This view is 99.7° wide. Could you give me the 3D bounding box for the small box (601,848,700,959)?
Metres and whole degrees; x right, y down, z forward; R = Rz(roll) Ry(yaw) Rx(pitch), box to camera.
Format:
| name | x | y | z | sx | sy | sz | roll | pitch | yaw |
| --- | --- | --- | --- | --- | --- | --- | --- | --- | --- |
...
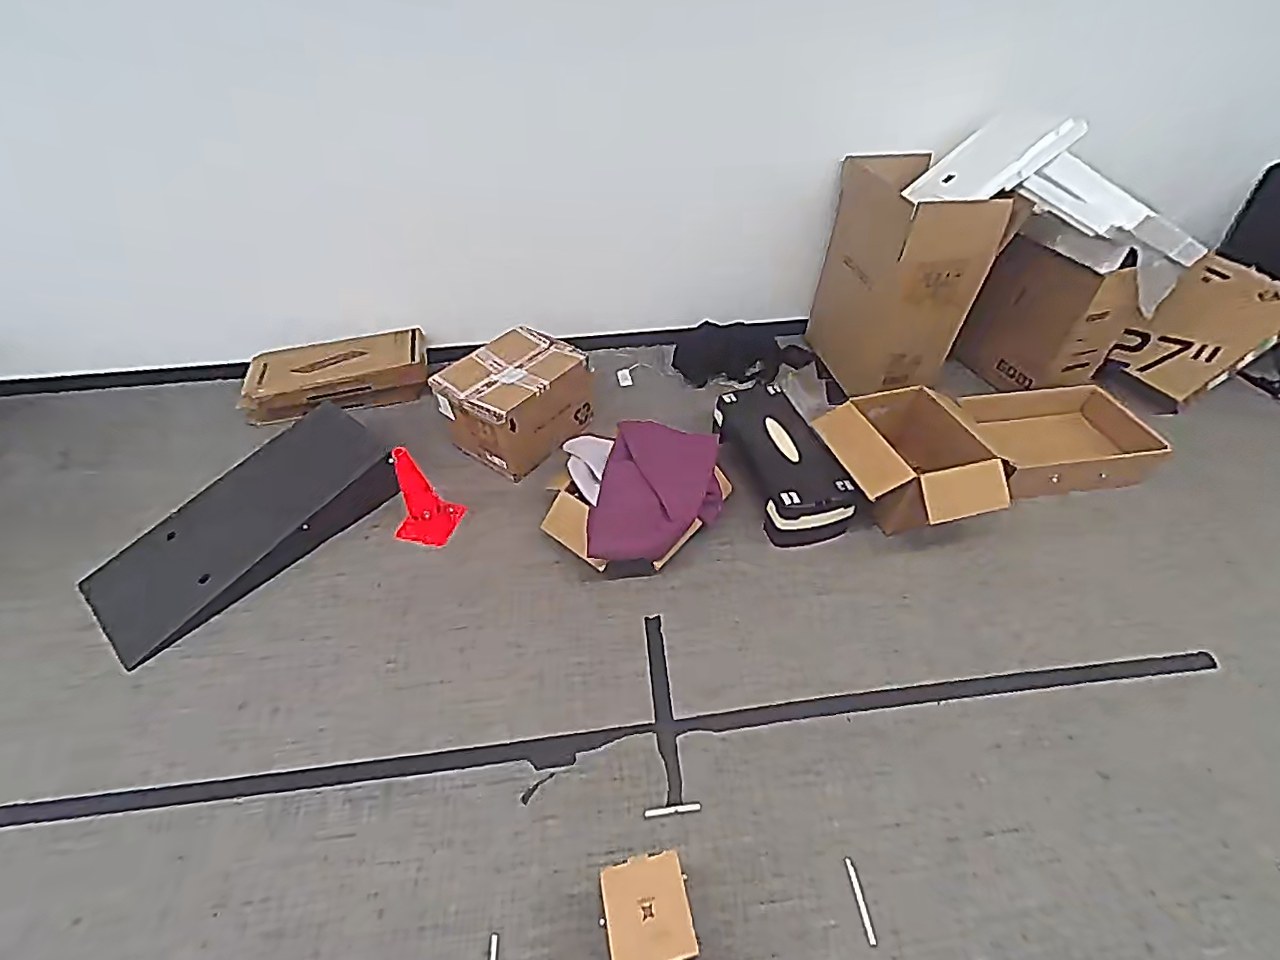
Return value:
| name | x | y | z | sx | sy | sz | roll | pitch | yaw |
| --- | --- | --- | --- | --- | --- | --- | --- | --- | --- |
| small box | 0.016 | 0.896 | 1.114 | 0.168 | 0.176 | 0.179 | -11 | 48 | -8 |
